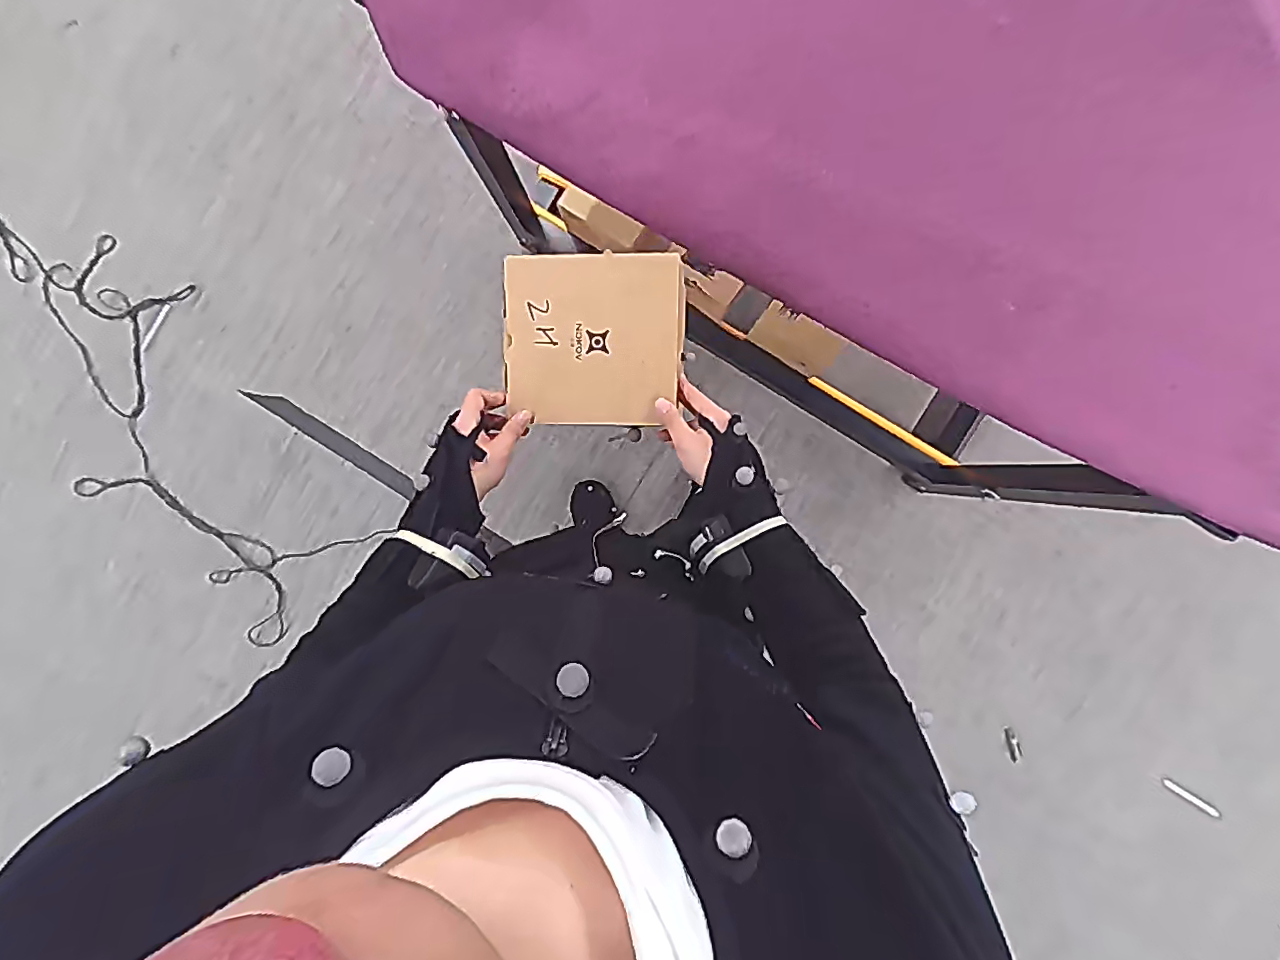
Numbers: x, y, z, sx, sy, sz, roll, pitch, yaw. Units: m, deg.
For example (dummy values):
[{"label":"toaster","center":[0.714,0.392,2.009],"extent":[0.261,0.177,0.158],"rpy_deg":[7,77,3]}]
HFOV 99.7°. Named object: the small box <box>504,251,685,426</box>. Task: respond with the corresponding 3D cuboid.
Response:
[{"label":"small box","center":[-0.040,-0.145,0.603],"extent":[0.179,0.176,0.168],"rpy_deg":[2,95,6]}]
